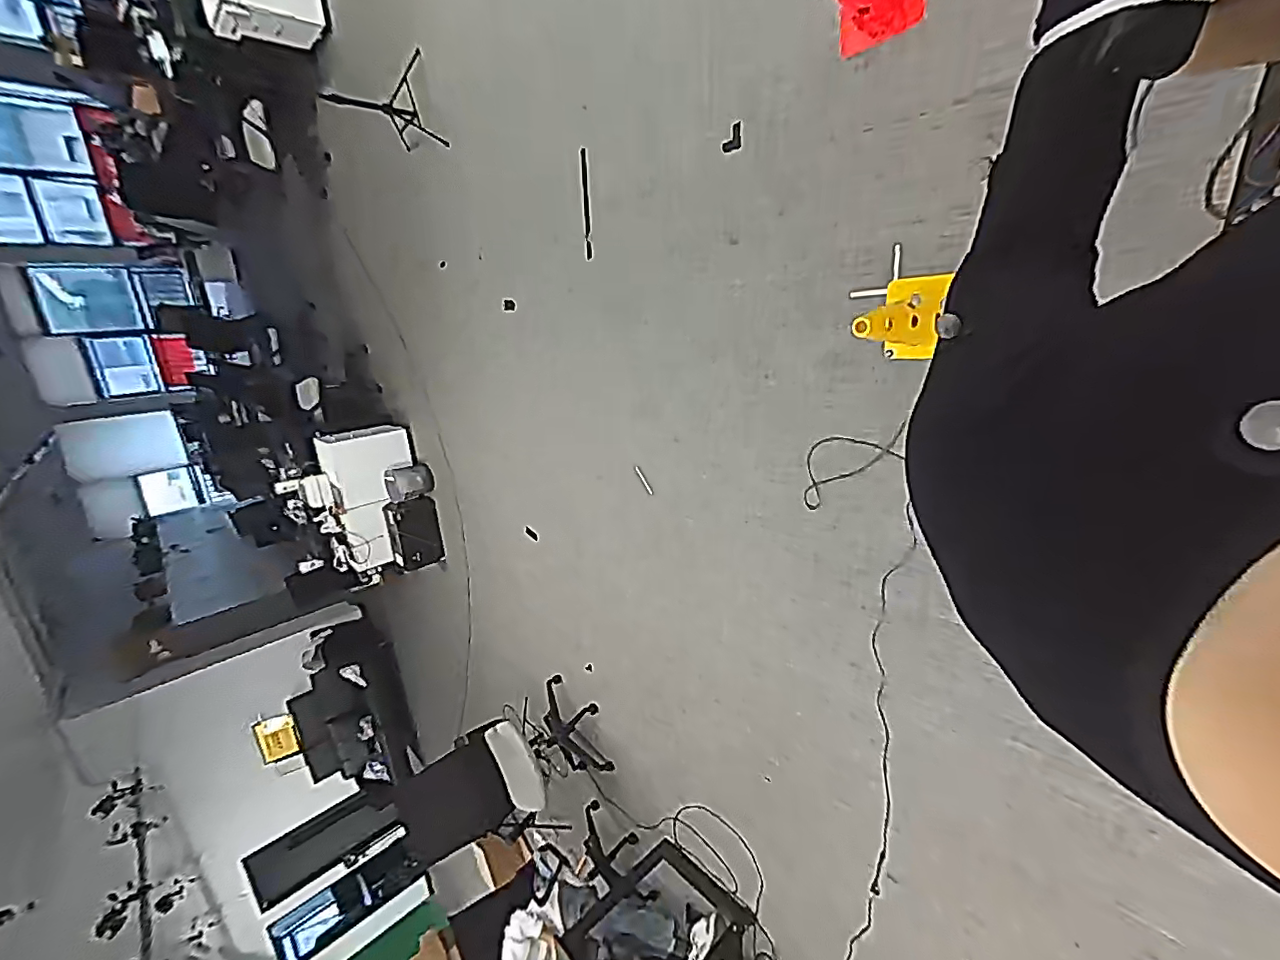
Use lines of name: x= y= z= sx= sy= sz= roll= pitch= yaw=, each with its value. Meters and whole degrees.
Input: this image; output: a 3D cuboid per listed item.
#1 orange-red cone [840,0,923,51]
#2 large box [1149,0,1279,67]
orange-red cone: x=0.430 y=-1.093 z=1.142 sx=0.198 sy=0.360 sz=0.199 roll=12 pitch=115 yaw=47
large box: x=0.562 y=-0.469 z=0.265 sx=0.408 sy=0.320 sz=0.320 roll=17 pitch=122 yaw=43
